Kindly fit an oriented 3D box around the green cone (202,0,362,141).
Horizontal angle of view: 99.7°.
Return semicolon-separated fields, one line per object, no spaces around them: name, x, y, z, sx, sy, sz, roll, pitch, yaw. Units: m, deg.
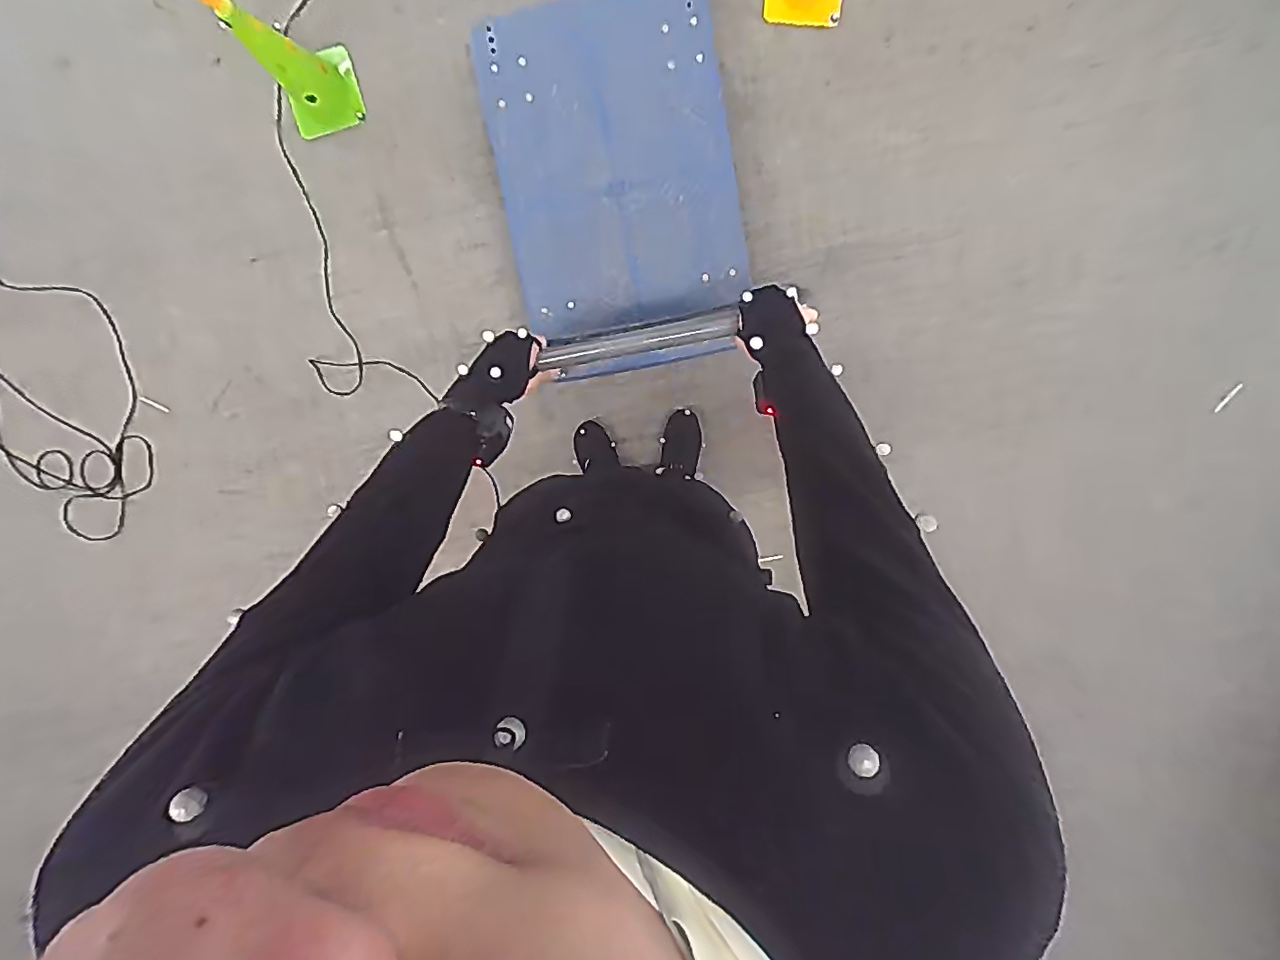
green cone;-0.894;-1.034;1.321;0.202;0.368;0.200;-15;98;6
